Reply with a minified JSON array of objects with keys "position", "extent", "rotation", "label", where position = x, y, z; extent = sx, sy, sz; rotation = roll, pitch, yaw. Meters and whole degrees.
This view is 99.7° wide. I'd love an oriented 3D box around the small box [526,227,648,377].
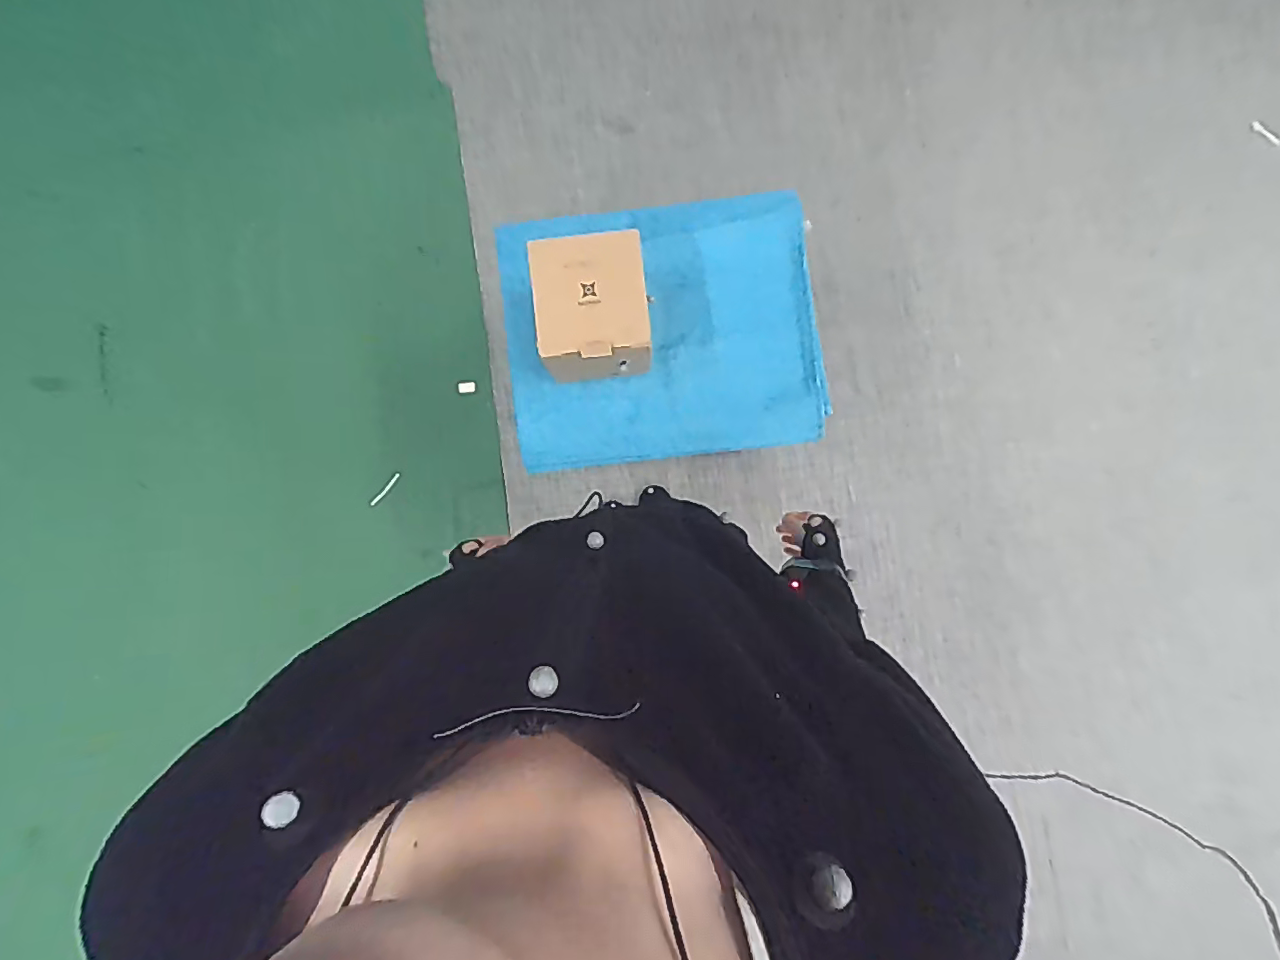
[{"position":[-0.076,-0.266,0.851],"extent":[0.168,0.176,0.179],"rotation":[-6,87,-1],"label":"small box"}]
